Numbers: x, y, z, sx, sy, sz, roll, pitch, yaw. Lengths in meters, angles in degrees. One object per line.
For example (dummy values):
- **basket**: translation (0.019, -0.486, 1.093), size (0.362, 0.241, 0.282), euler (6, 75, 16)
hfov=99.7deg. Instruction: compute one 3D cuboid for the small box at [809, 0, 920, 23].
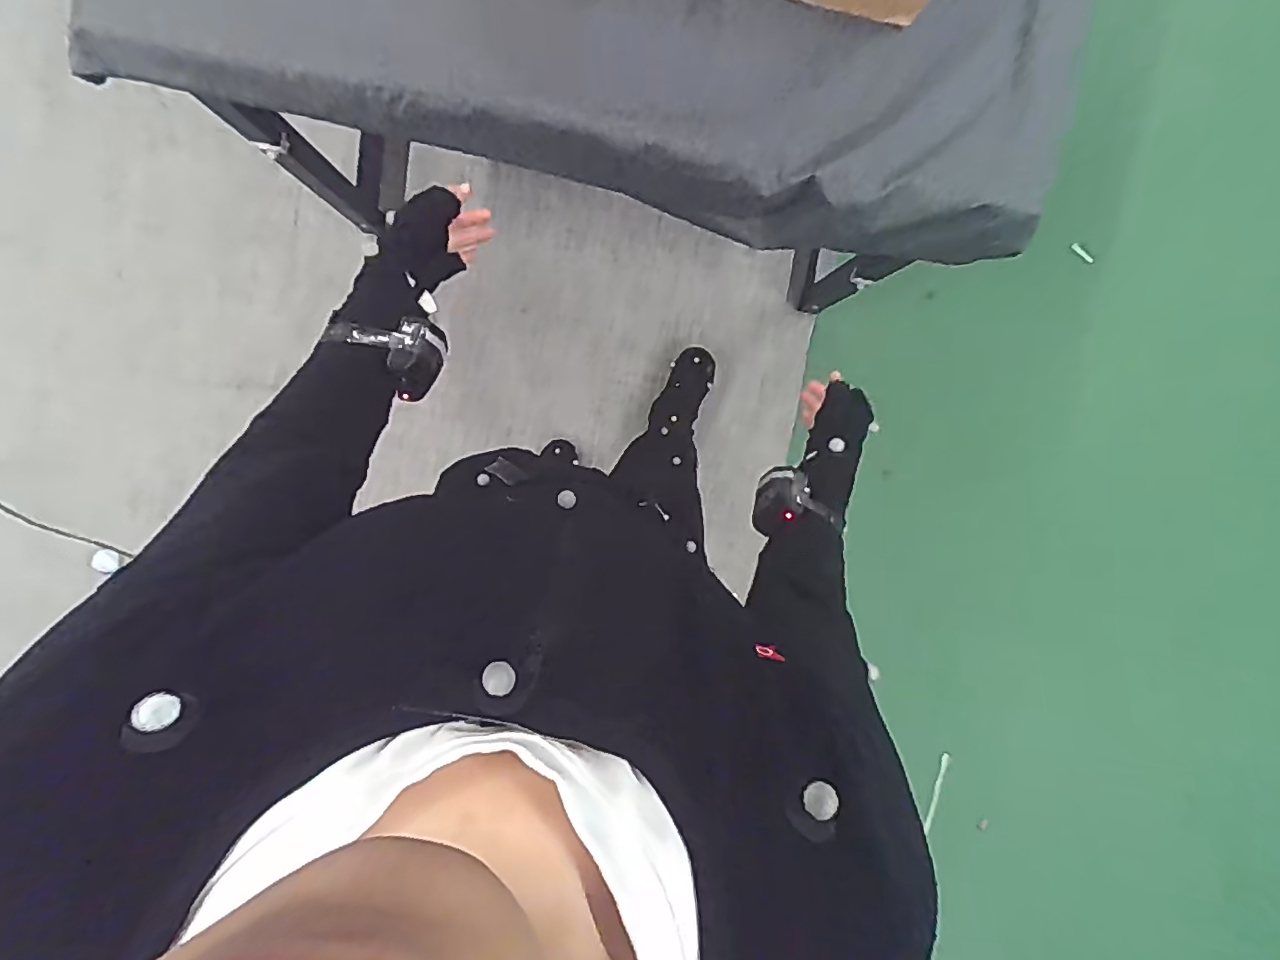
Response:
- **small box**: translation (0.278, -0.663, 0.599), size (0.179, 0.176, 0.168), euler (10, 96, -6)
